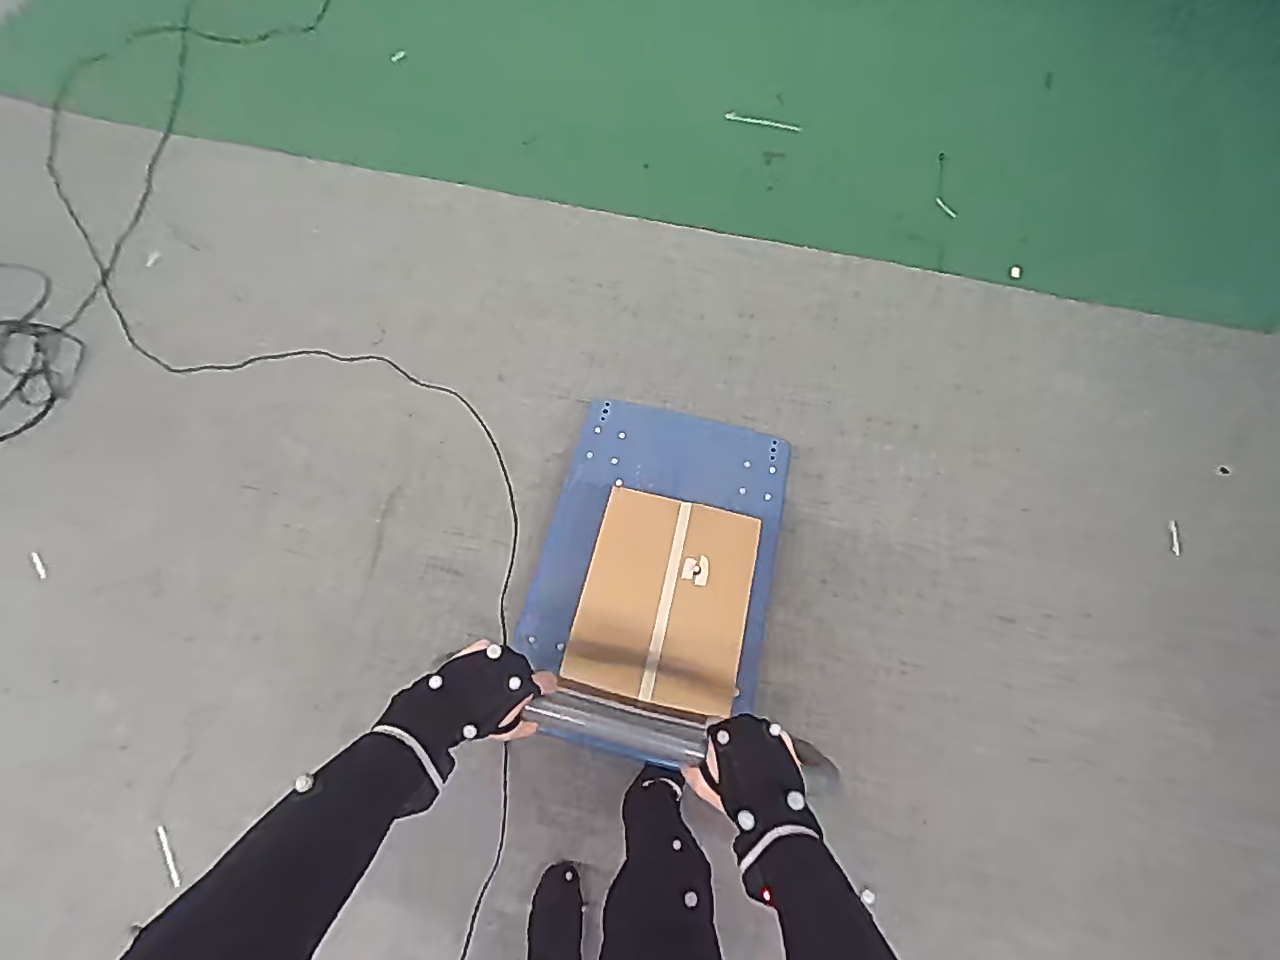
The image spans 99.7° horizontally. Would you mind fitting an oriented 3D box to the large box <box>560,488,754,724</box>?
[{"bbox_3d":[0.040,0.286,1.172,0.320,0.320,0.408,13,66,3],"label":"large box"}]
